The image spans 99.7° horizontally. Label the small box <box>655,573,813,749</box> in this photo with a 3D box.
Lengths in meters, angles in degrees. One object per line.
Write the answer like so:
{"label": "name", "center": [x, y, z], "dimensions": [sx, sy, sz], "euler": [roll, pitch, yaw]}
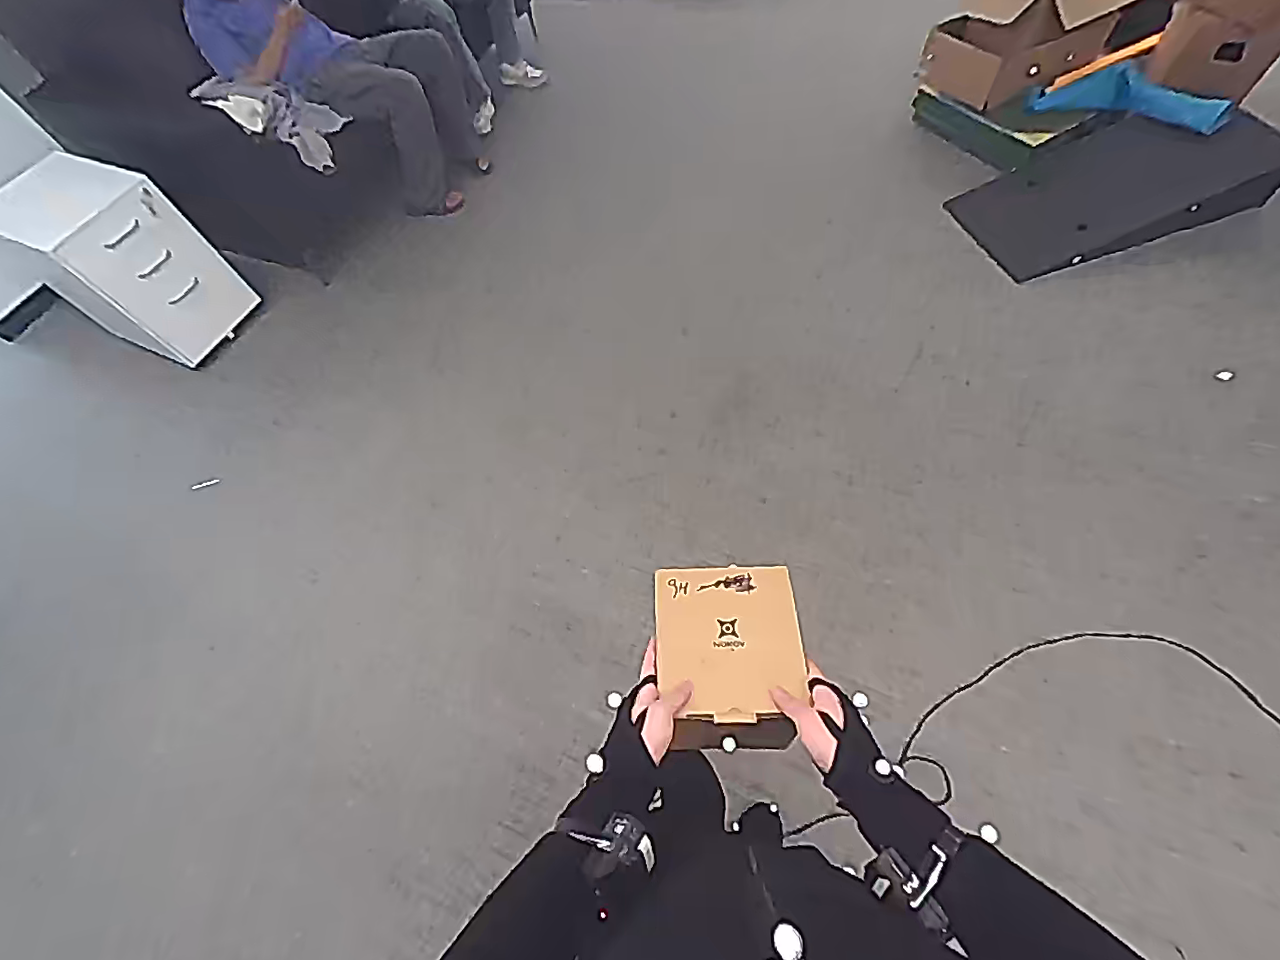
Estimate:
{"label": "small box", "center": [0.108, 0.238, 0.692], "dimensions": [0.168, 0.176, 0.179], "euler": [-4, 54, 1]}
